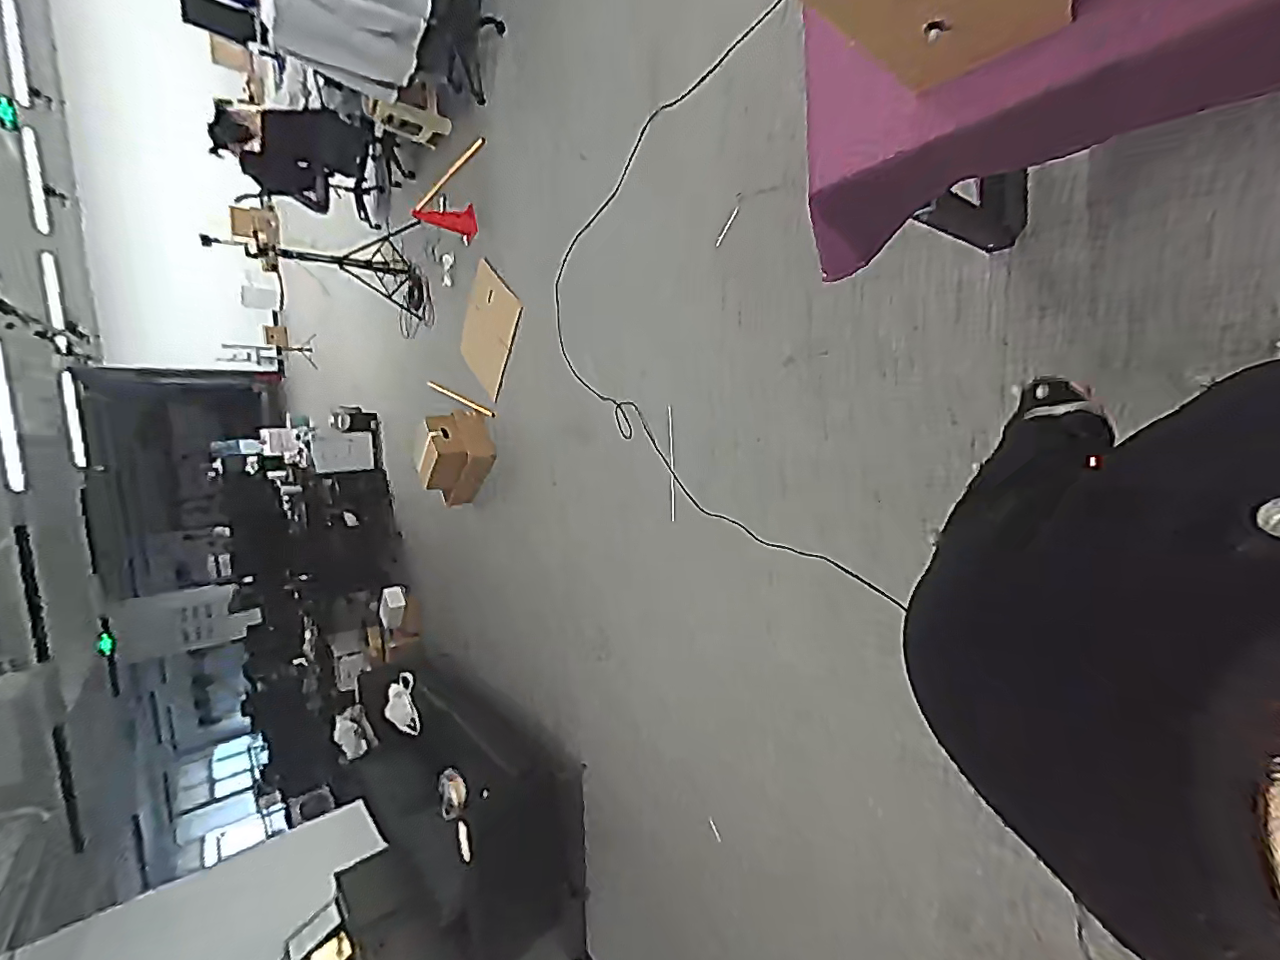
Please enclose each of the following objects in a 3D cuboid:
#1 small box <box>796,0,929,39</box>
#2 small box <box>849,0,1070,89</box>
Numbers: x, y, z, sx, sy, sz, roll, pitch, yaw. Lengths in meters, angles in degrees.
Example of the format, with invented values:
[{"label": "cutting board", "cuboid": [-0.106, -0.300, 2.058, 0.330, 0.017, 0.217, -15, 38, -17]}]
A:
[{"label": "small box", "cuboid": [0.242, -0.575, 0.508, 0.179, 0.176, 0.168, 7, 101, 51]}, {"label": "small box", "cuboid": [0.364, -0.592, 0.615, 0.179, 0.176, 0.168, 7, 102, 50]}]
